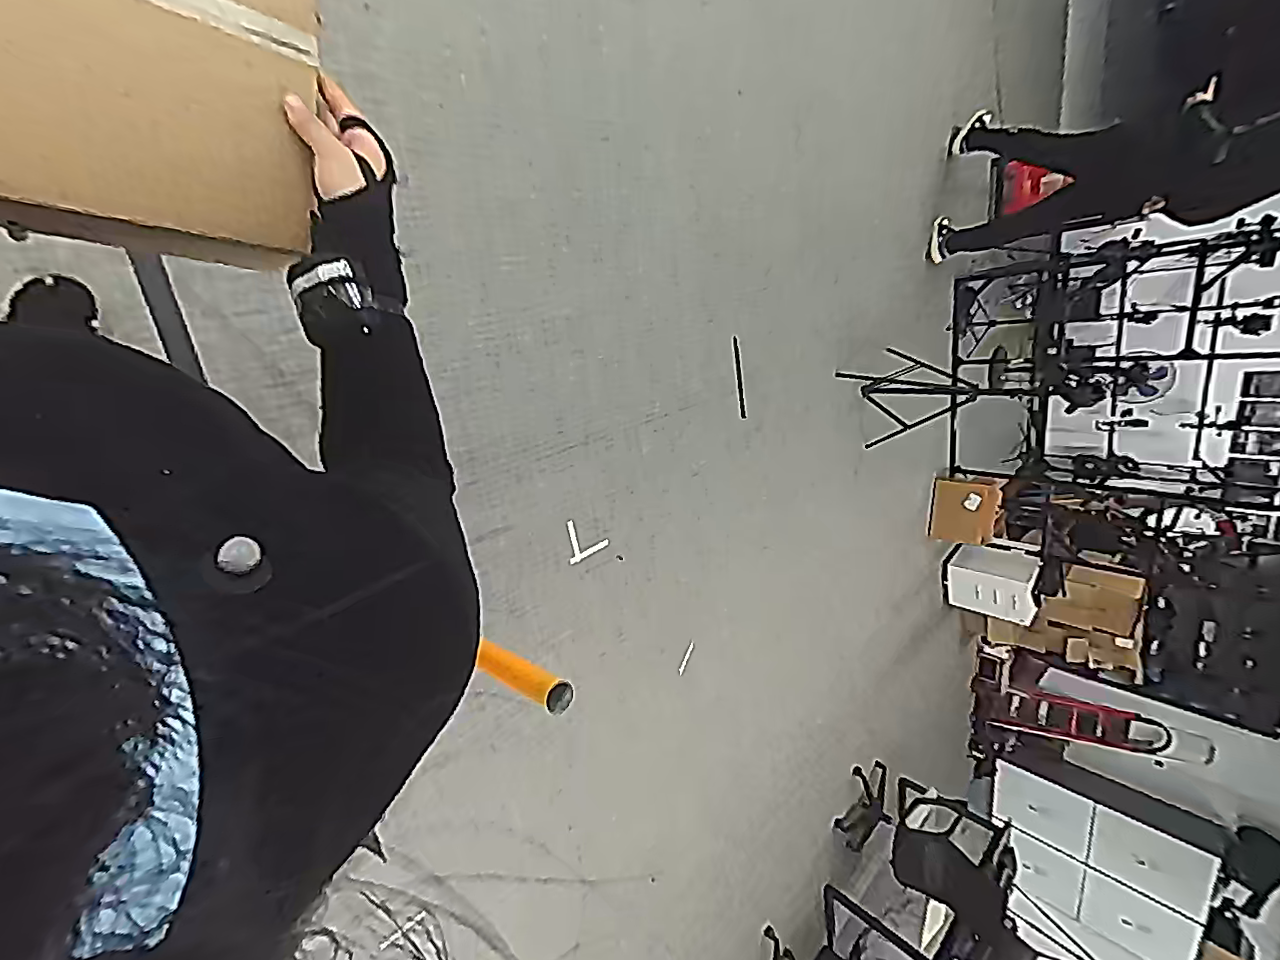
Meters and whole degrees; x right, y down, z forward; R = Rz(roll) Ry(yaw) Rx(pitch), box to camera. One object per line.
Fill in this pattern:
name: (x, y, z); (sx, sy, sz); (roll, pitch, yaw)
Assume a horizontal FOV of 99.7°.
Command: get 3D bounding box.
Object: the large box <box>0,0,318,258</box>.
large box: (-0.519, -0.383, 0.439); (0.408, 0.320, 0.320); (-4, 106, -40)
